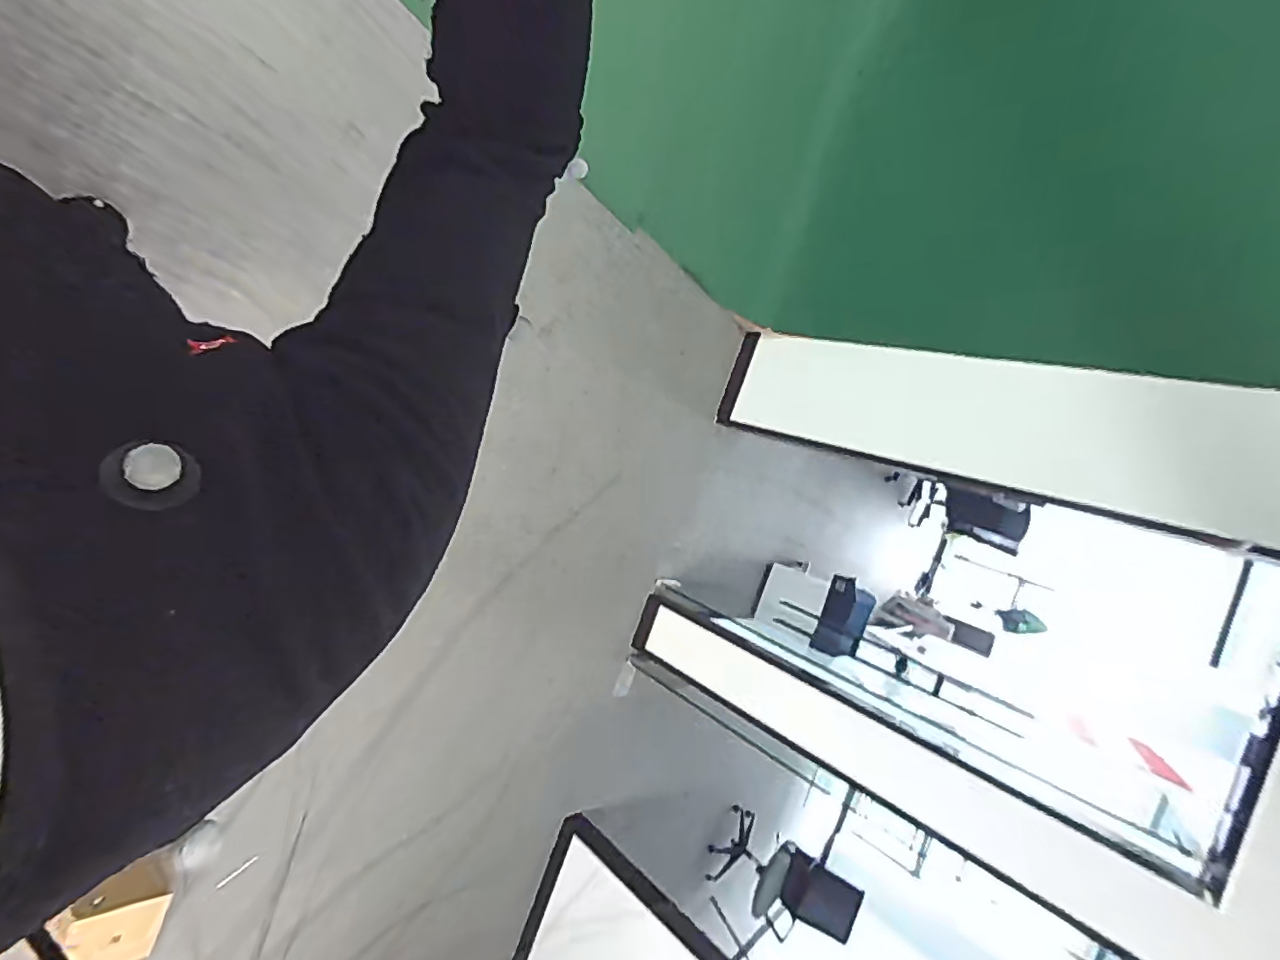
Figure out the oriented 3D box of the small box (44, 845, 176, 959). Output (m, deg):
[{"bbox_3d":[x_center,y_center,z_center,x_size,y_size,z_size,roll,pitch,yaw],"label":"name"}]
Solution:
[{"bbox_3d":[-1.235,0.997,1.259,0.179,0.176,0.168,21,89,-51],"label":"small box"}]
